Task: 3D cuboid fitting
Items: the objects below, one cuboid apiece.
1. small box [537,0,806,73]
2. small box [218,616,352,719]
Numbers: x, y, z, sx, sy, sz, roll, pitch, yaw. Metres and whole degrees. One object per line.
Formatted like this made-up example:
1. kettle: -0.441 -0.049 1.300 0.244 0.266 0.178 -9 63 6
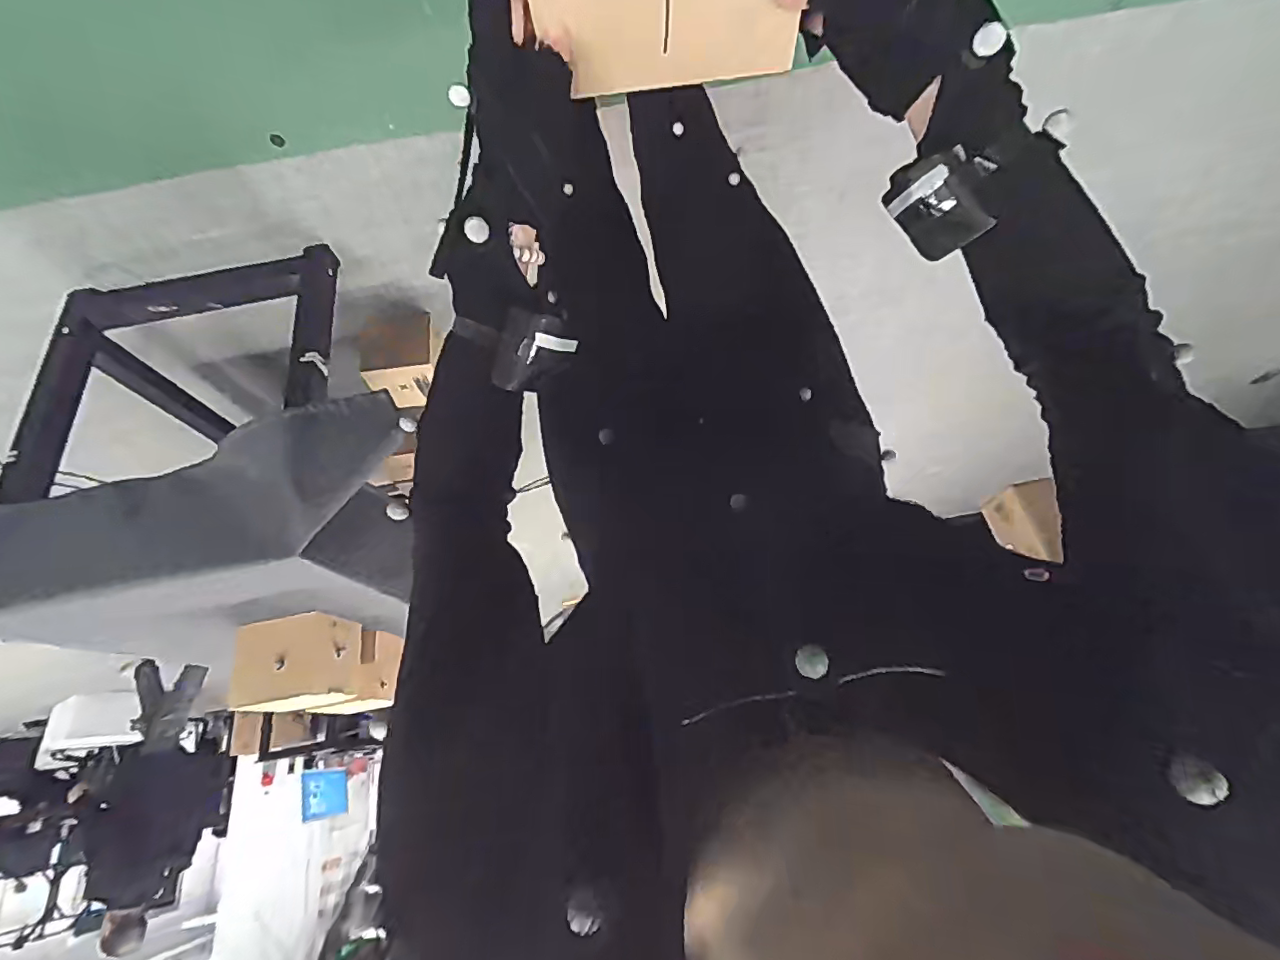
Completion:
1. small box: 0.010 -0.384 0.309 0.168 0.176 0.179 -5 156 3
2. small box: -0.734 0.393 1.134 0.179 0.176 0.168 -12 155 0
